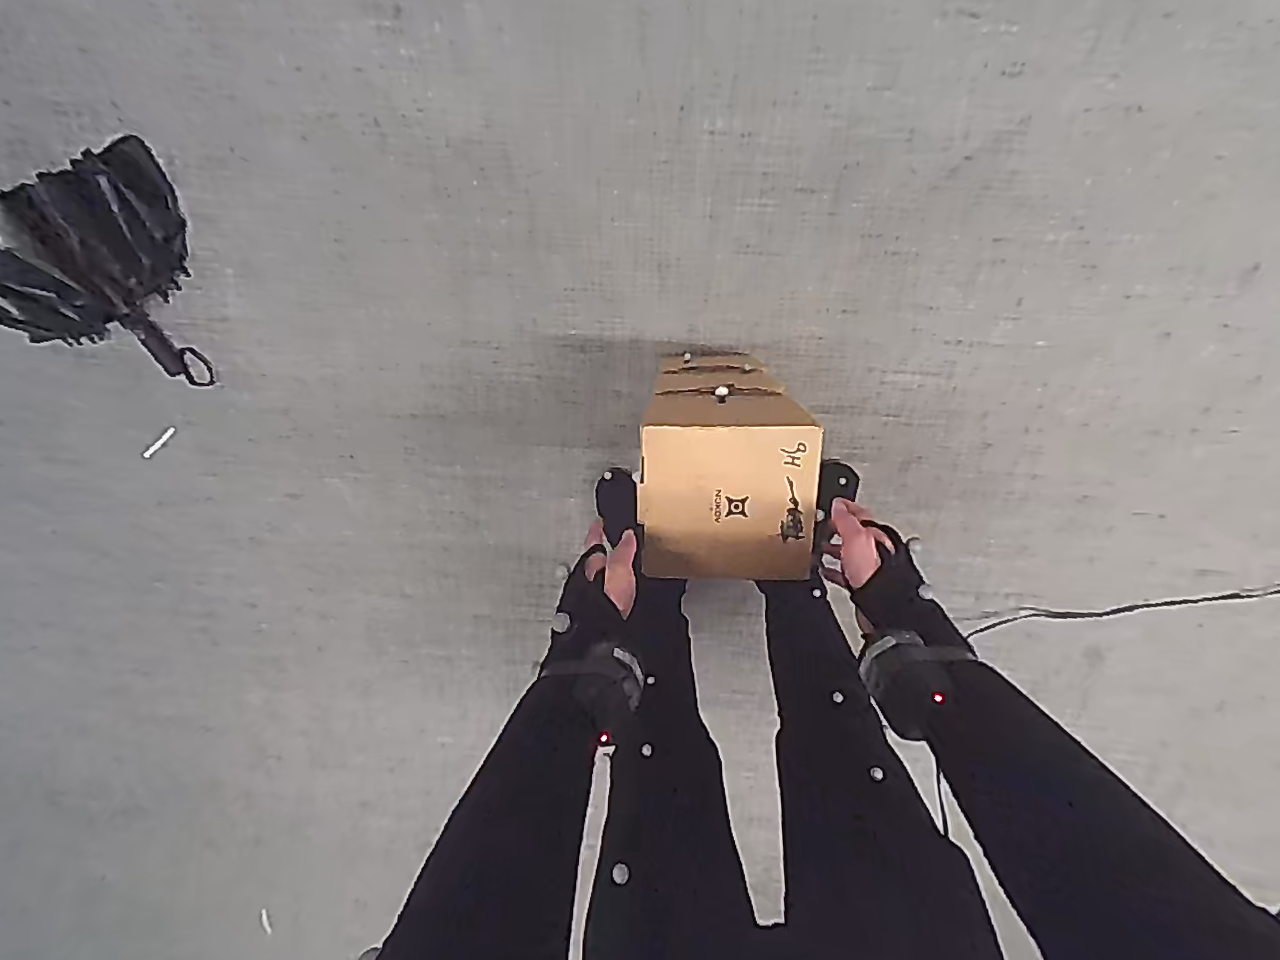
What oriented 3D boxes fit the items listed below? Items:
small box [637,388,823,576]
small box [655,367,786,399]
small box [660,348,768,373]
[{"bbox_3d":[0.093,-0.007,0.615,0.179,0.176,0.168,2,110,5],"label":"small box"},{"bbox_3d":[0.104,-0.065,0.768,0.168,0.176,0.179,0,111,5],"label":"small box"},{"bbox_3d":[0.117,-0.128,0.919,0.168,0.176,0.179,0,112,5],"label":"small box"}]
